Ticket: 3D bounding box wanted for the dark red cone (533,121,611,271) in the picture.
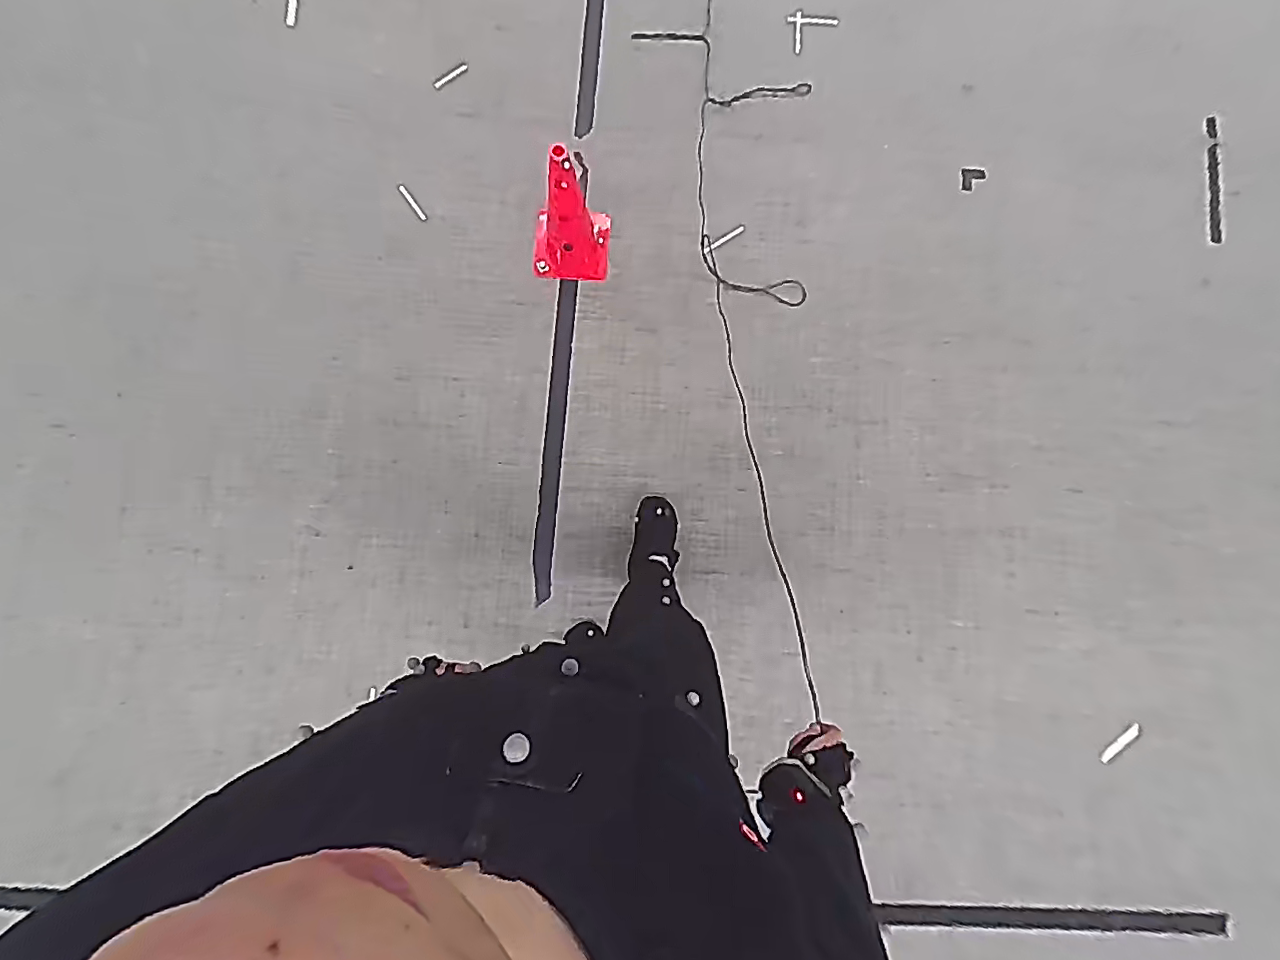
[{"bbox_3d":[-0.171,-0.677,1.280,0.201,0.394,0.202,3,83,-3],"label":"dark red cone"}]
